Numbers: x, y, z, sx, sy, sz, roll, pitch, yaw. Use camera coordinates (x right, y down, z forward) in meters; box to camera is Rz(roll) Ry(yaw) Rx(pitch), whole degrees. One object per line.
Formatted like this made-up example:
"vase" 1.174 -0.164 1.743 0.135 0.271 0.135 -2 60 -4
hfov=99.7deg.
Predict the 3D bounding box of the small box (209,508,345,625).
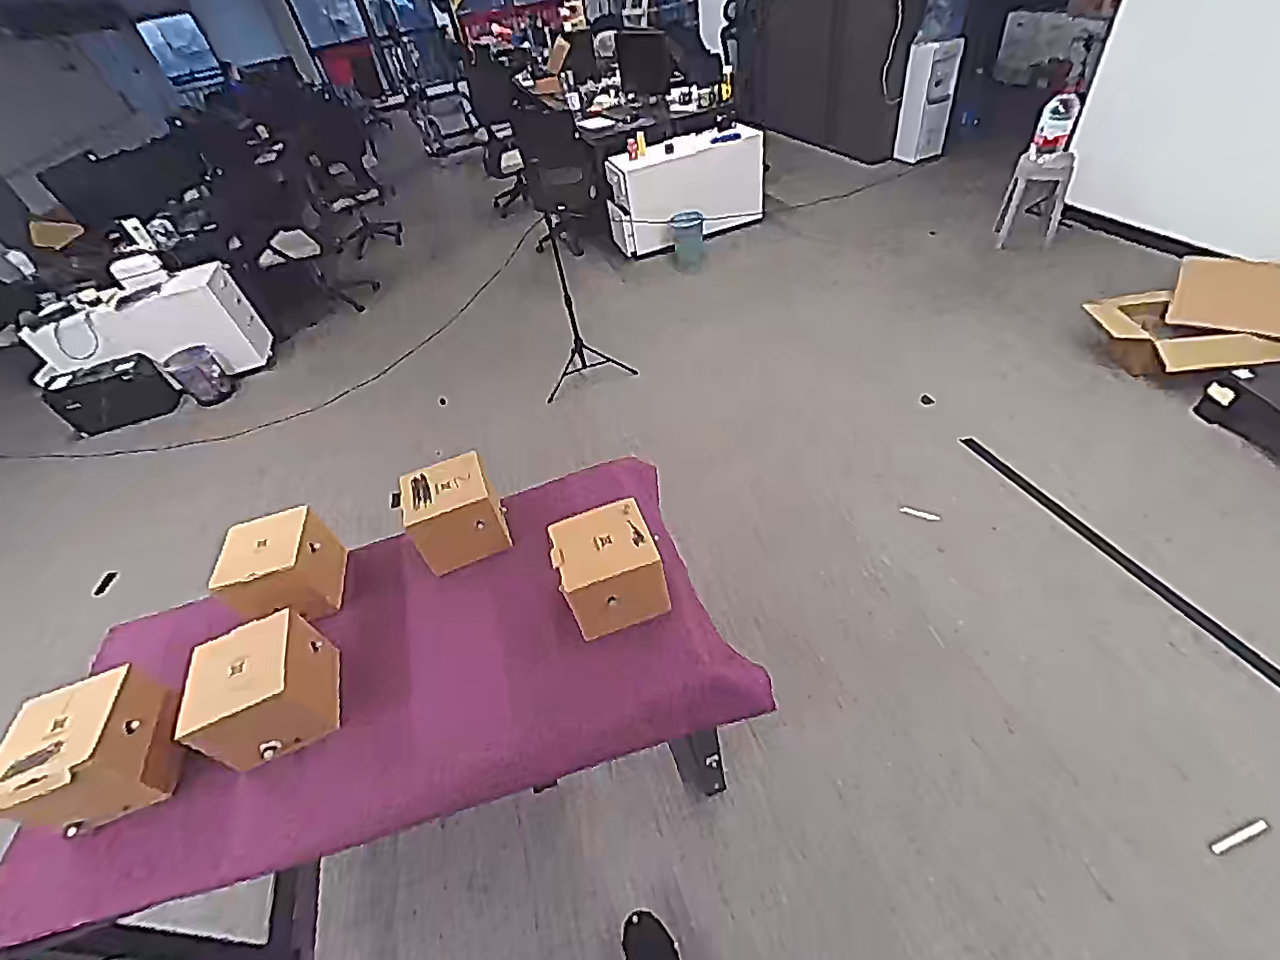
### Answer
"small box" -0.753 0.194 1.148 0.168 0.176 0.179 -17 45 -6

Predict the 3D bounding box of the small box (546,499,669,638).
"small box" -0.059 0.172 1.025 0.179 0.176 0.168 -19 45 -5

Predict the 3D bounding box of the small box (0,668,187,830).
"small box" -0.912 0.459 0.914 0.168 0.176 0.179 -20 43 -9

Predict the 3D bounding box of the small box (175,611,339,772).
"small box" -0.655 0.372 0.952 0.168 0.176 0.179 -23 45 -10
